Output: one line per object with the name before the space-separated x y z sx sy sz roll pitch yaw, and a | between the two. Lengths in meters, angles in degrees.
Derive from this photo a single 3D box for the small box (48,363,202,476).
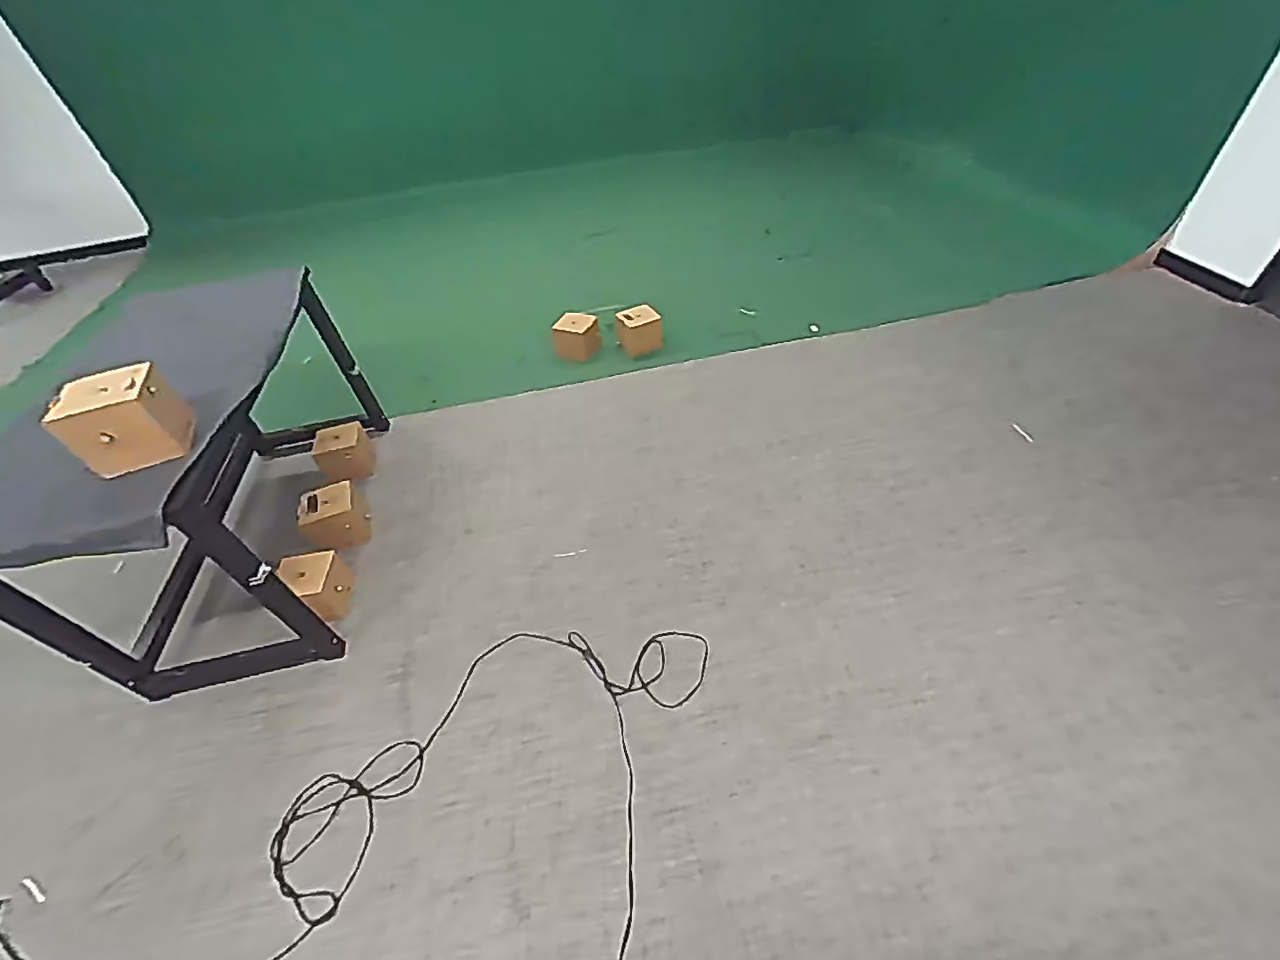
small box | -1.165 -0.136 1.239 0.179 0.176 0.168 -21 47 -13

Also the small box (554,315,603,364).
small box | -0.301 -0.700 2.695 0.179 0.176 0.168 14 49 20

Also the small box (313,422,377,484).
small box | -1.213 -0.112 2.237 0.179 0.176 0.168 -15 46 -7

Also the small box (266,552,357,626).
small box | -1.063 0.359 1.769 0.179 0.176 0.168 -9 46 -1

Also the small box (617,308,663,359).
small box | 0.006 -0.723 2.677 0.179 0.176 0.168 -23 48 -16
